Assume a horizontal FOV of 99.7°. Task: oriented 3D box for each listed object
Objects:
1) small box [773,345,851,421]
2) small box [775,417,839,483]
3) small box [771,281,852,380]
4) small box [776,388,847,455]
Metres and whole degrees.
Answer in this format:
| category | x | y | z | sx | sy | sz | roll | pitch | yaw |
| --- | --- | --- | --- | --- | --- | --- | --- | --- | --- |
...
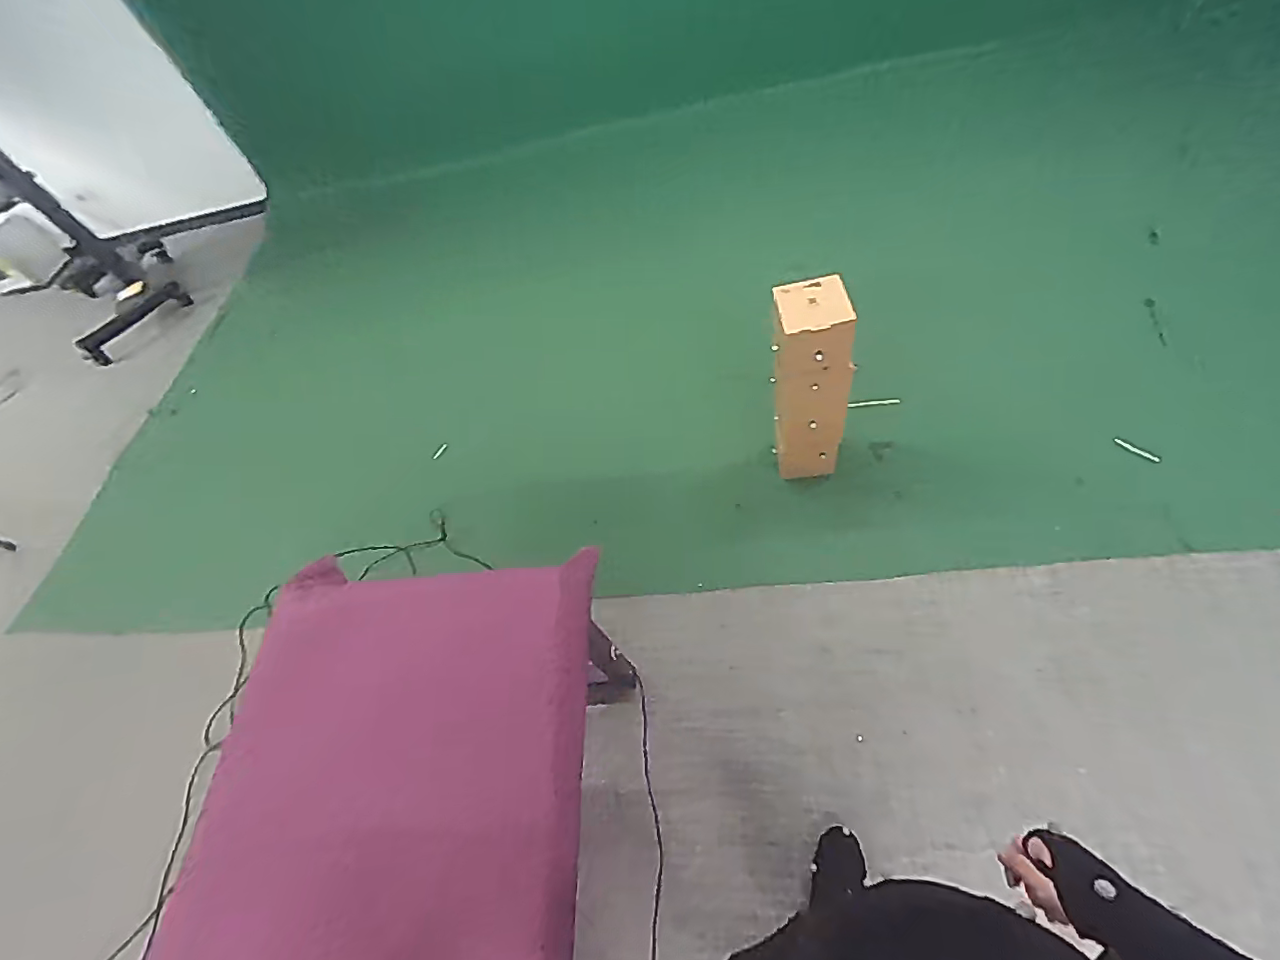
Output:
| category | x | y | z | sx | sy | sz | roll | pitch | yaw |
| --- | --- | --- | --- | --- | --- | --- | --- | --- | --- |
| small box | 0.480 | -0.288 | 1.526 | 0.179 | 0.176 | 0.168 | -10 | 56 | 7 |
| small box | 0.546 | -0.108 | 1.789 | 0.179 | 0.176 | 0.168 | -7 | 56 | 10 |
| small box | 0.438 | -0.376 | 1.394 | 0.168 | 0.176 | 0.179 | -9 | 57 | 9 |
| small box | 0.518 | -0.198 | 1.658 | 0.179 | 0.176 | 0.168 | -10 | 56 | 9 |
